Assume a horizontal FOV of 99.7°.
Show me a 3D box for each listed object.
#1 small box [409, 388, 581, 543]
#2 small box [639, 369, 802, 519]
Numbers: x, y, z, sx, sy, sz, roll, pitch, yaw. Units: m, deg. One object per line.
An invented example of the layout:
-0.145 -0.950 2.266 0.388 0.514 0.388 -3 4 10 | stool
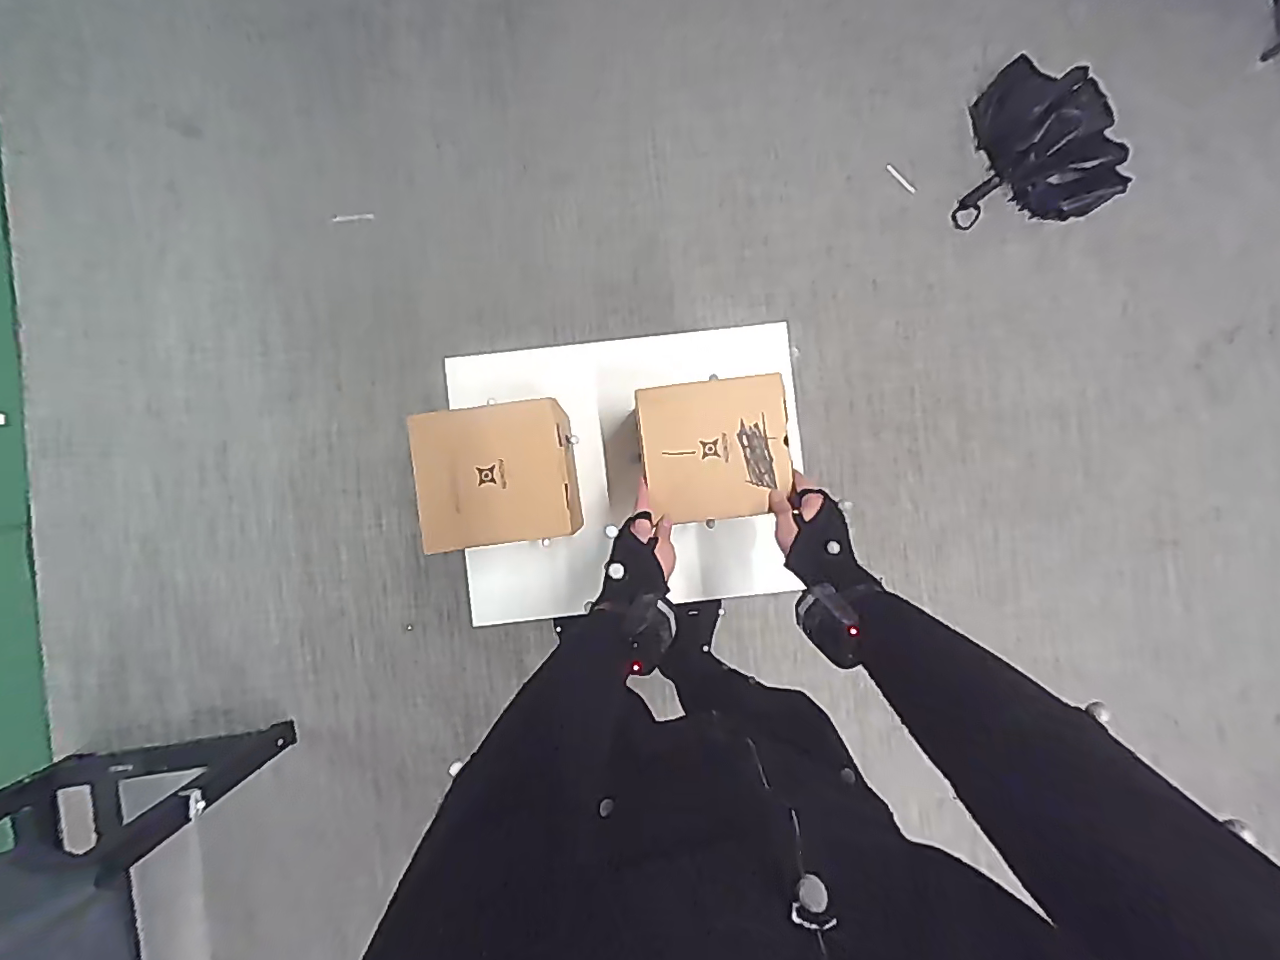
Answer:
-0.171 -0.015 0.695 0.179 0.176 0.168 -7 87 -2 | small box
0.093 -0.042 0.703 0.179 0.176 0.168 -5 89 -1 | small box
